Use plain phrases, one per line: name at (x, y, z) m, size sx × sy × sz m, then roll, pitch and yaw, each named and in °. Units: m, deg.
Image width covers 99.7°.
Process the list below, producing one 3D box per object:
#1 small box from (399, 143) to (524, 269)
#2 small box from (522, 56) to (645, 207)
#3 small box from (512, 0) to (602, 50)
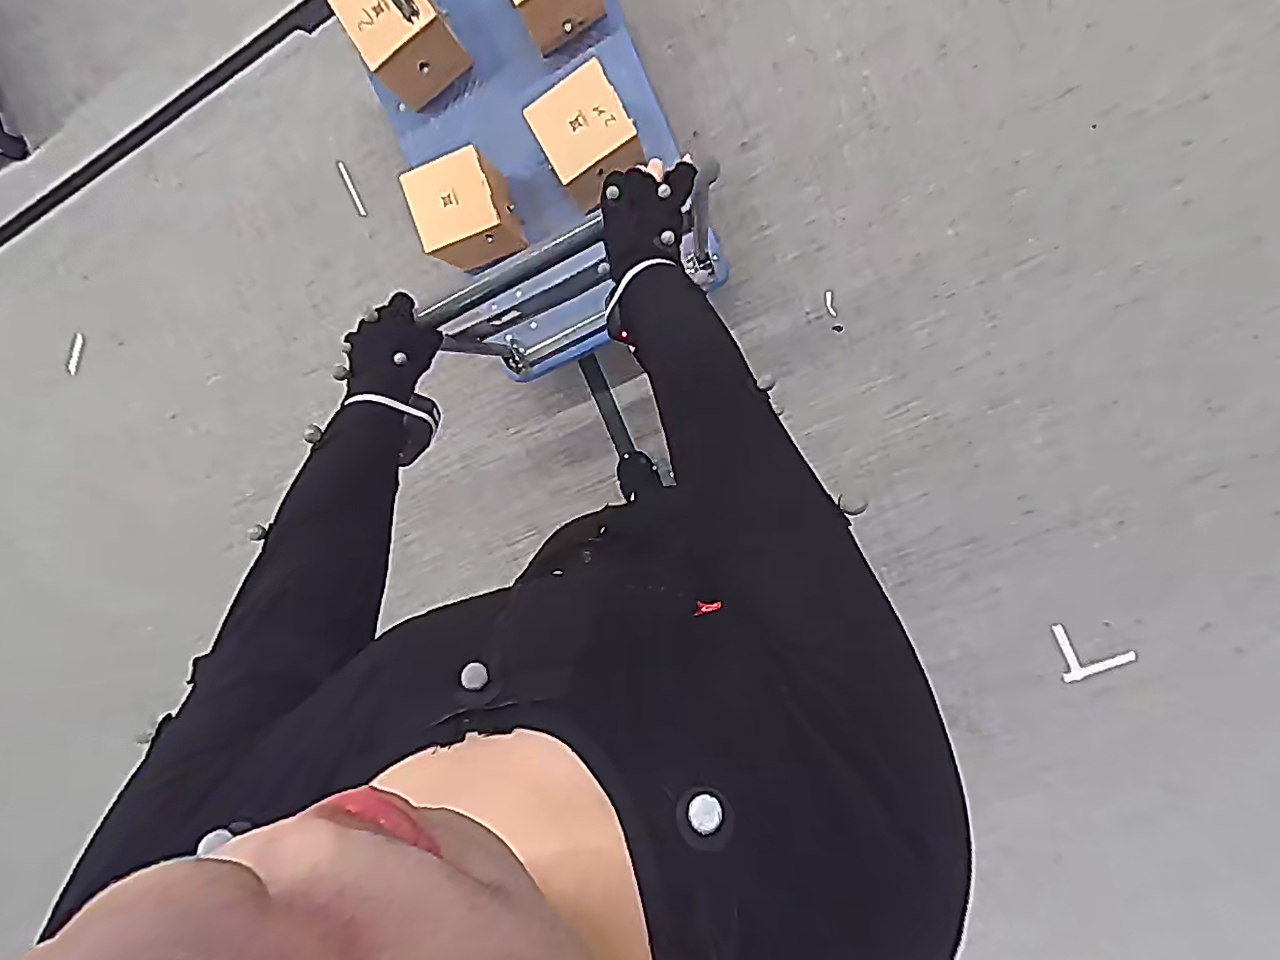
small box at (-0.380, -0.584, 1.179) m, size 0.179 × 0.176 × 0.168 m, roll -17°, pitch 96°, yaw 9°
small box at (-0.107, -0.703, 1.119) m, size 0.179 × 0.176 × 0.168 m, roll -29°, pitch 94°, yaw 12°
small box at (-0.196, -1.029, 1.080) m, size 0.168 × 0.176 × 0.179 m, roll -26°, pitch 95°, yaw 12°
